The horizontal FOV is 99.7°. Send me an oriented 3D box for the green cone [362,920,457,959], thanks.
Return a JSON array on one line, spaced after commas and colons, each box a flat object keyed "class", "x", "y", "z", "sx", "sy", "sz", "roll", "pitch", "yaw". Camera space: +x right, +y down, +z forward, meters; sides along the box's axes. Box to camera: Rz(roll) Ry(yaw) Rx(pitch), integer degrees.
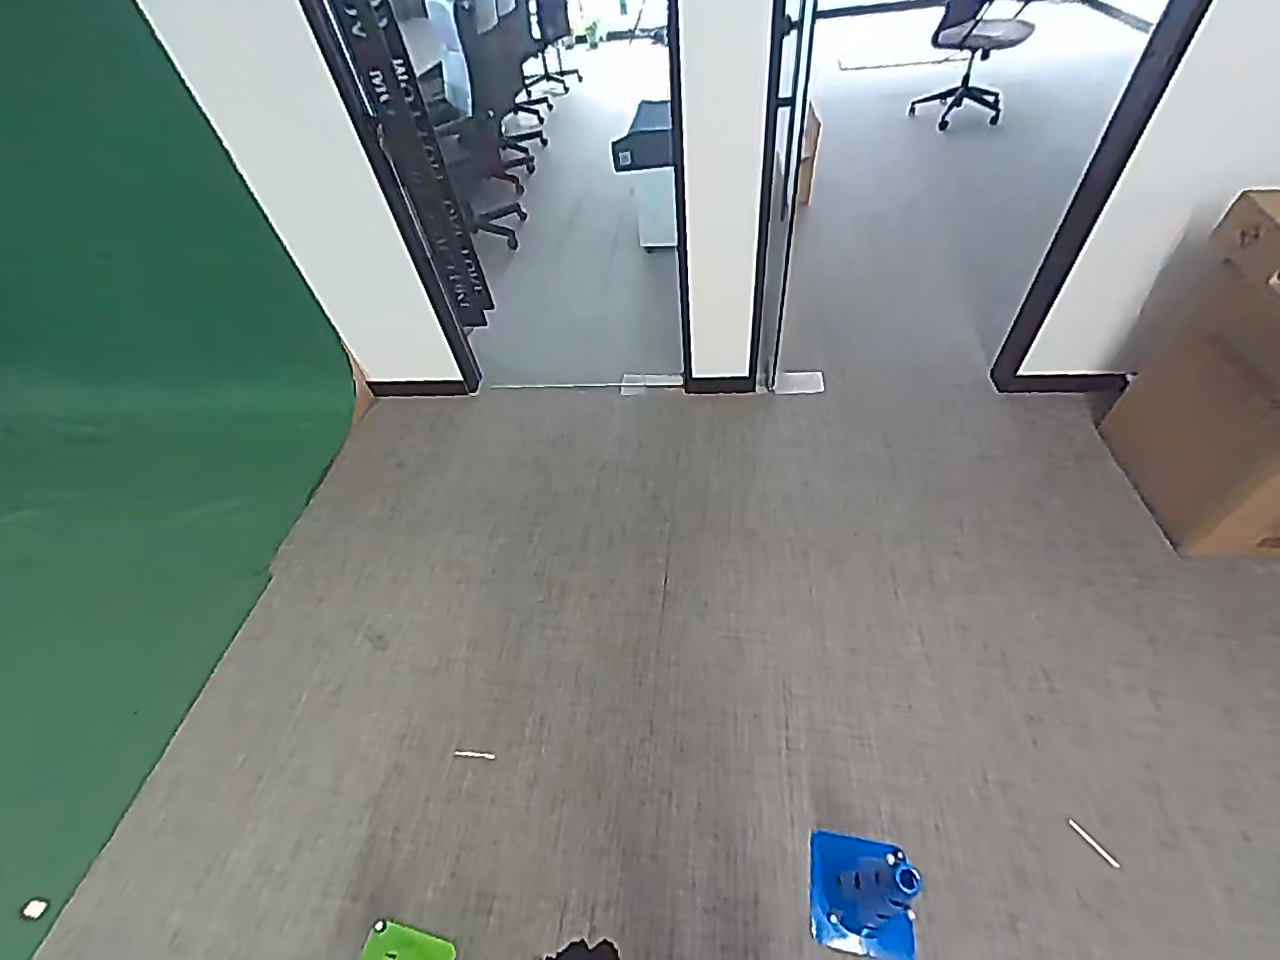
[{"class": "green cone", "x": -0.514, "y": 0.929, "z": 0.975, "sx": 0.202, "sy": 0.368, "sz": 0.200, "roll": 6, "pitch": 49, "yaw": 13}]
